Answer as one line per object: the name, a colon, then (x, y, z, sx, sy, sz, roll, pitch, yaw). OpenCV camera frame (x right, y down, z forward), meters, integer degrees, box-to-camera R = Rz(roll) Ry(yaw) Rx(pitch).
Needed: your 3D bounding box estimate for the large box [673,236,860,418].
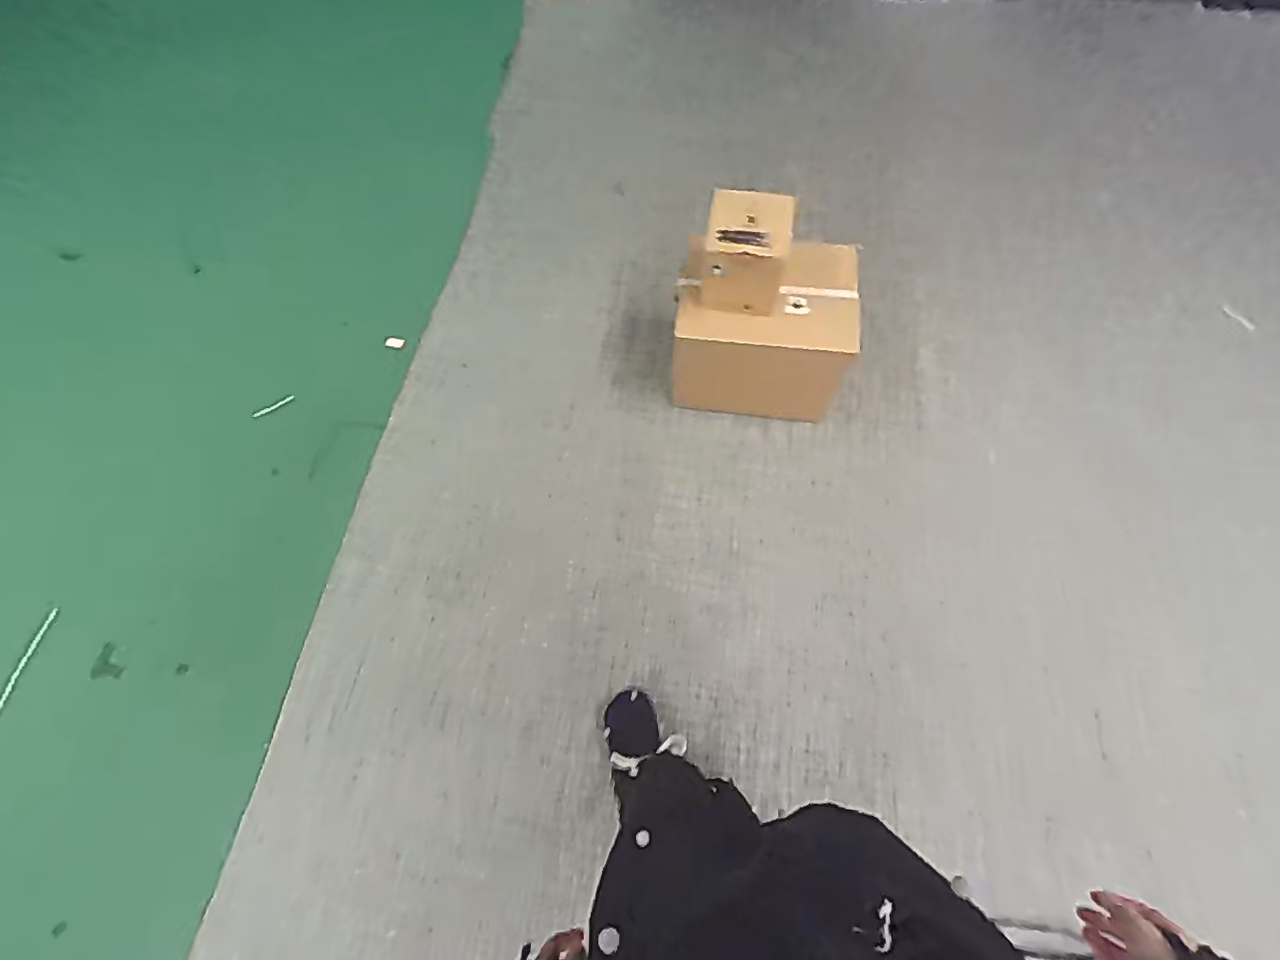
large box: (0.299, -0.376, 1.372, 0.408, 0.320, 0.320, 6, 69, 4)
